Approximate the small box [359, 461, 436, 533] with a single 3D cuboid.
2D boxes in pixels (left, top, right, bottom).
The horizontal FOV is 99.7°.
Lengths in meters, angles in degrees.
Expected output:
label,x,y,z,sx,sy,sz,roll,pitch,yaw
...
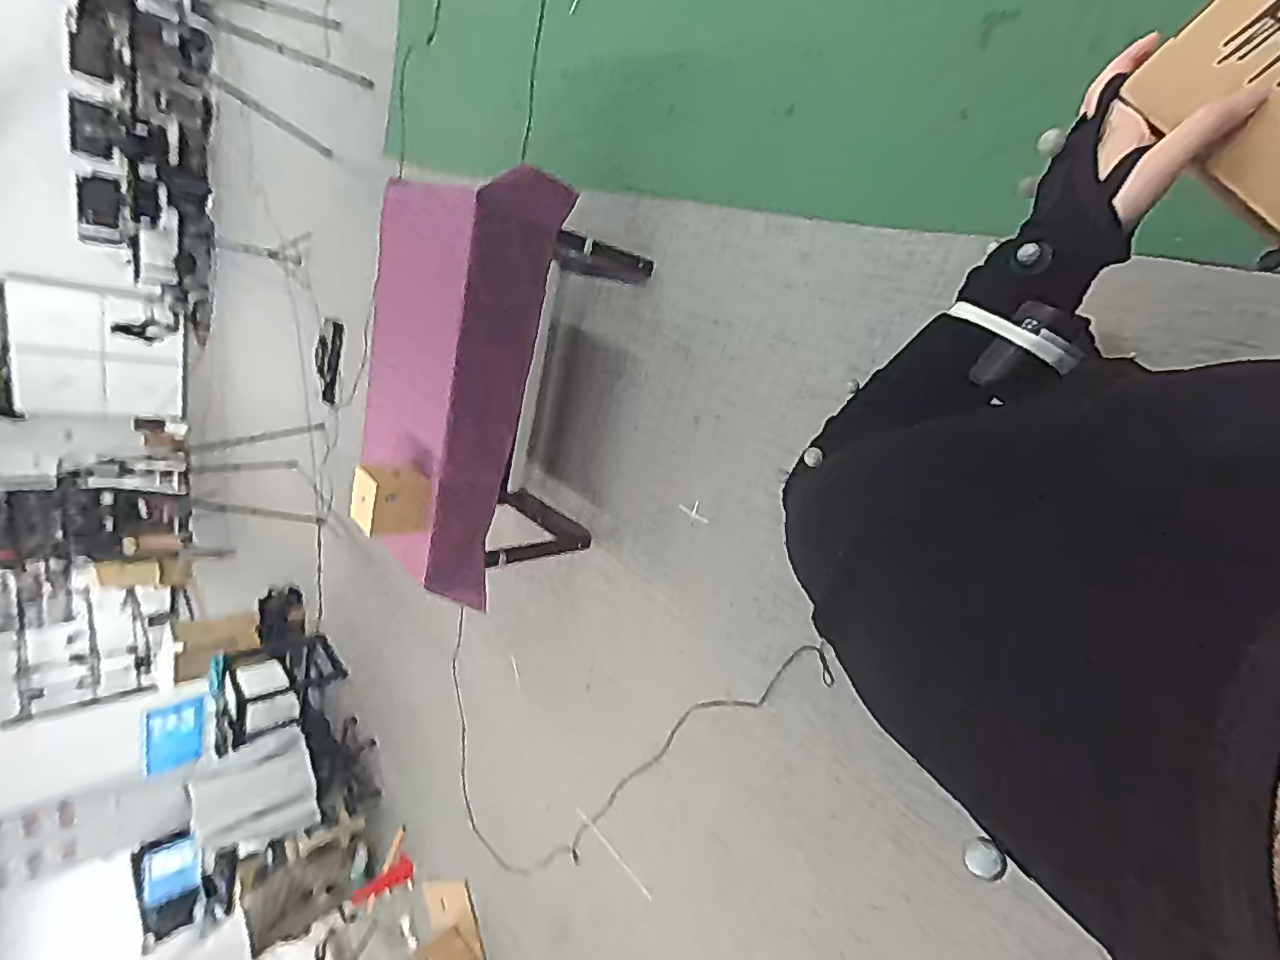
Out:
label,x,y,z,sx,sy,sz,roll,pitch,yaw
small box,-0.766,0.047,1.715,0.168,0.176,0.179,31,112,39
